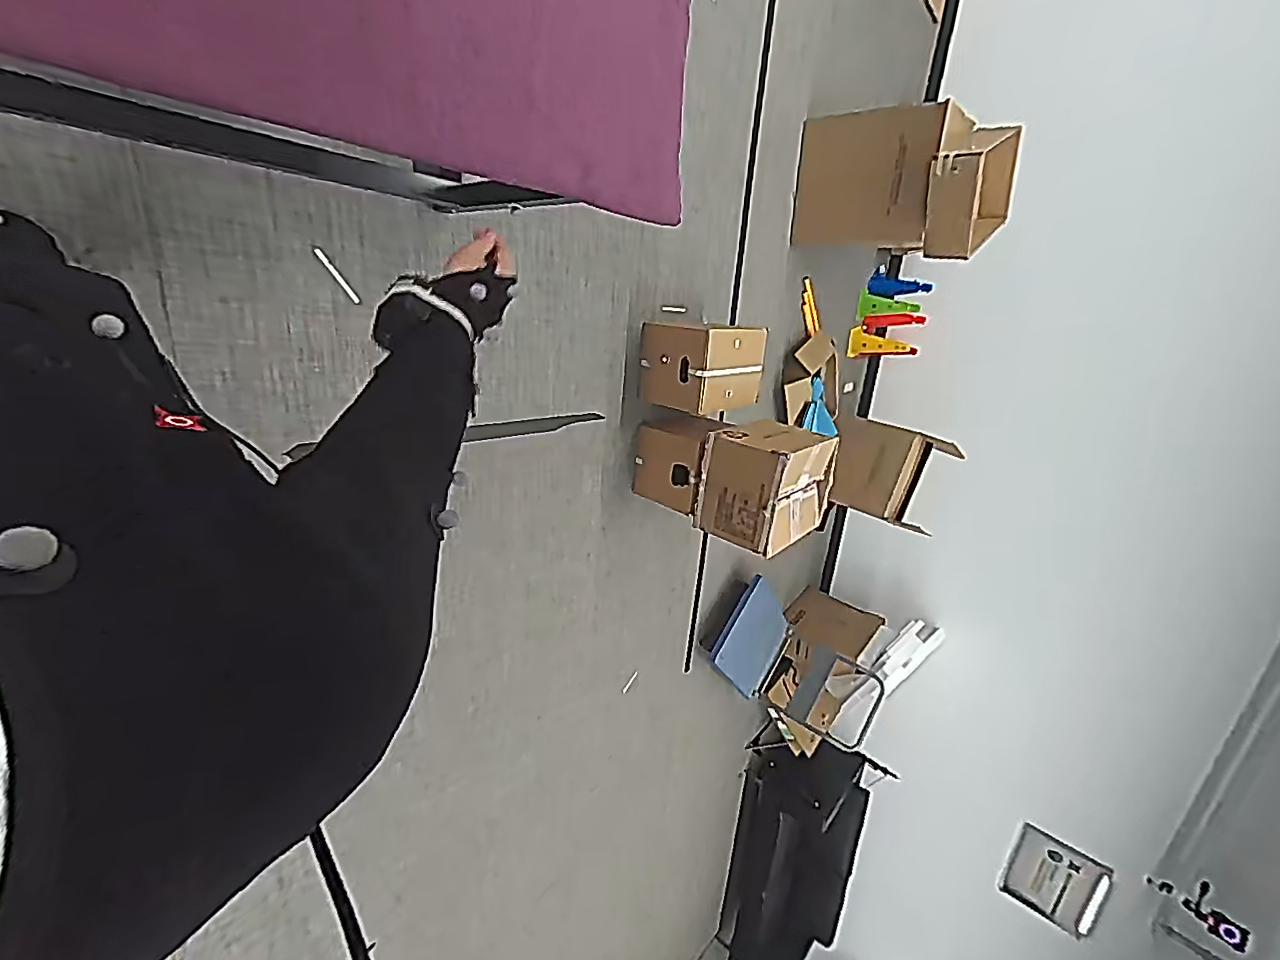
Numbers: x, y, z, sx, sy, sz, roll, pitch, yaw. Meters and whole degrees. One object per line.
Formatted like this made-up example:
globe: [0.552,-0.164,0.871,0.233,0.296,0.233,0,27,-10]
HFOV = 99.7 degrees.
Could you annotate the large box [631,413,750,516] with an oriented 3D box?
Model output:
large box: [0.216,-0.084,2.309,0.408,0.320,0.320,-16,118,-46]
